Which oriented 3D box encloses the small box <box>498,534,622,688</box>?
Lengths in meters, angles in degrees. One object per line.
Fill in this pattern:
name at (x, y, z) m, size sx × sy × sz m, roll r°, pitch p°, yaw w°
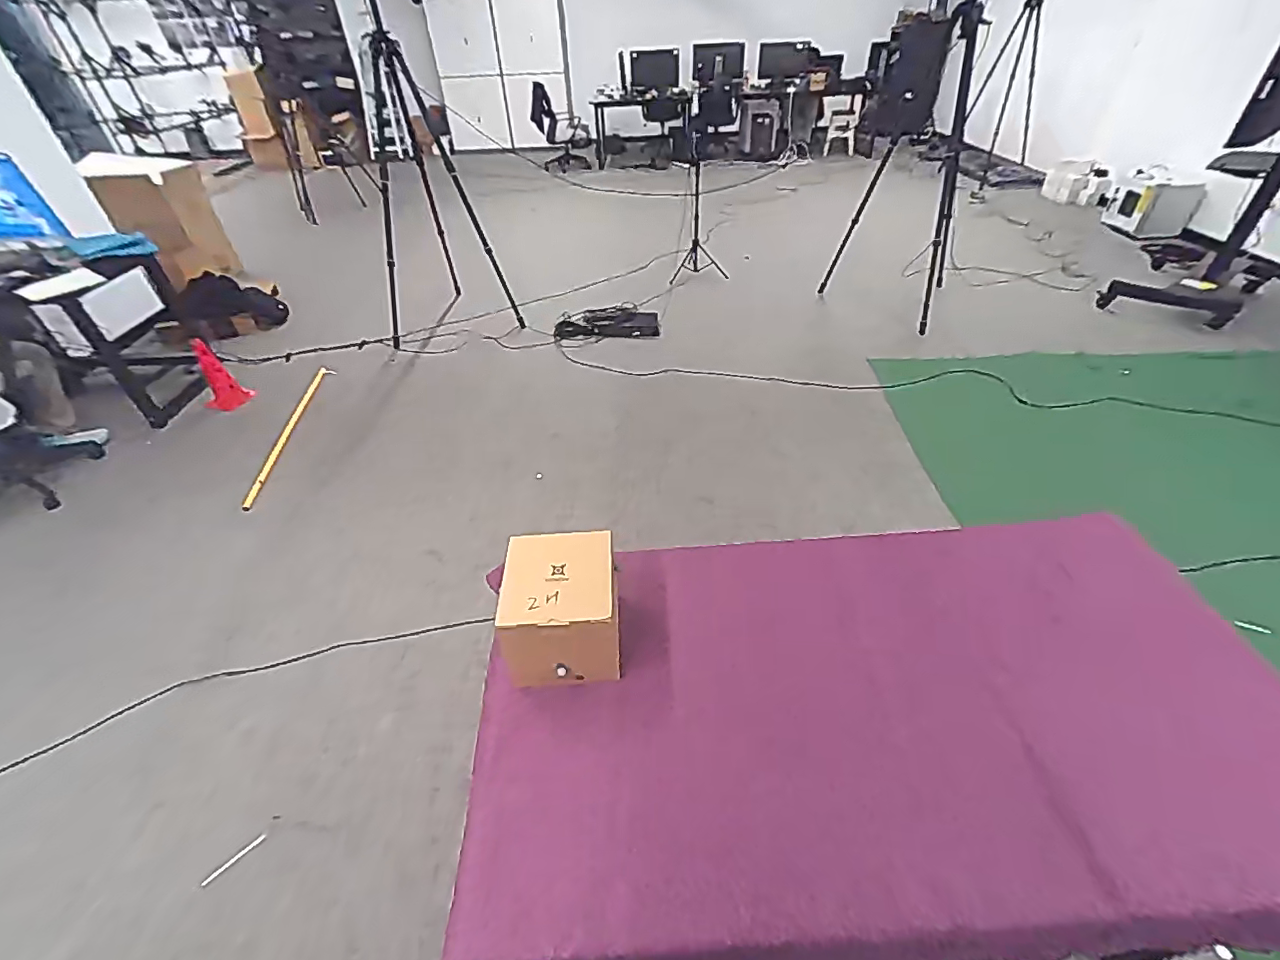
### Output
small box at (-0.118, 0.208, 0.867) m, size 0.168 × 0.176 × 0.179 m, roll -4°, pitch 41°, yaw 0°
